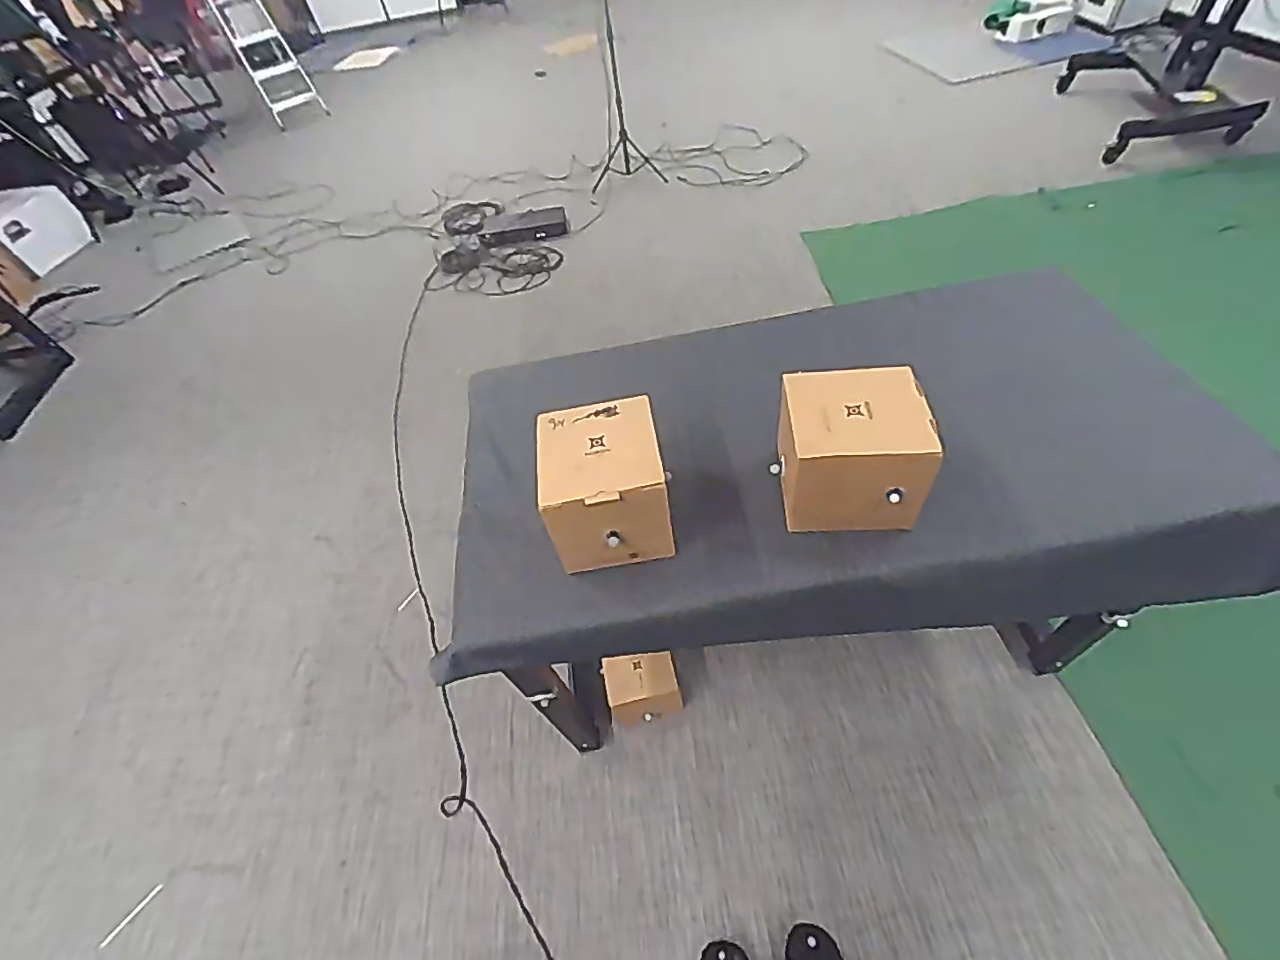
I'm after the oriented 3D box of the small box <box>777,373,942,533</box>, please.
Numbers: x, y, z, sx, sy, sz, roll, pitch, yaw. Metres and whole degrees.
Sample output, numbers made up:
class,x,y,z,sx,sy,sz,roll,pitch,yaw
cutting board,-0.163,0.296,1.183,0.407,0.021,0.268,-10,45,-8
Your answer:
class,x,y,z,sx,sy,sz,roll,pitch,yaw
small box,0.300,-0.034,0.782,0.179,0.176,0.168,-2,50,8

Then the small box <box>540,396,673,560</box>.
class,x,y,z,sx,sy,sz,roll,pitch,yaw
small box,-0.046,0.005,0.798,0.168,0.176,0.179,-9,51,1

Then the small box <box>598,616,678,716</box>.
class,x,y,z,sx,sy,sz,roll,pitch,yaw
small box,-0.004,0.470,1.362,0.168,0.176,0.179,-12,52,-1
